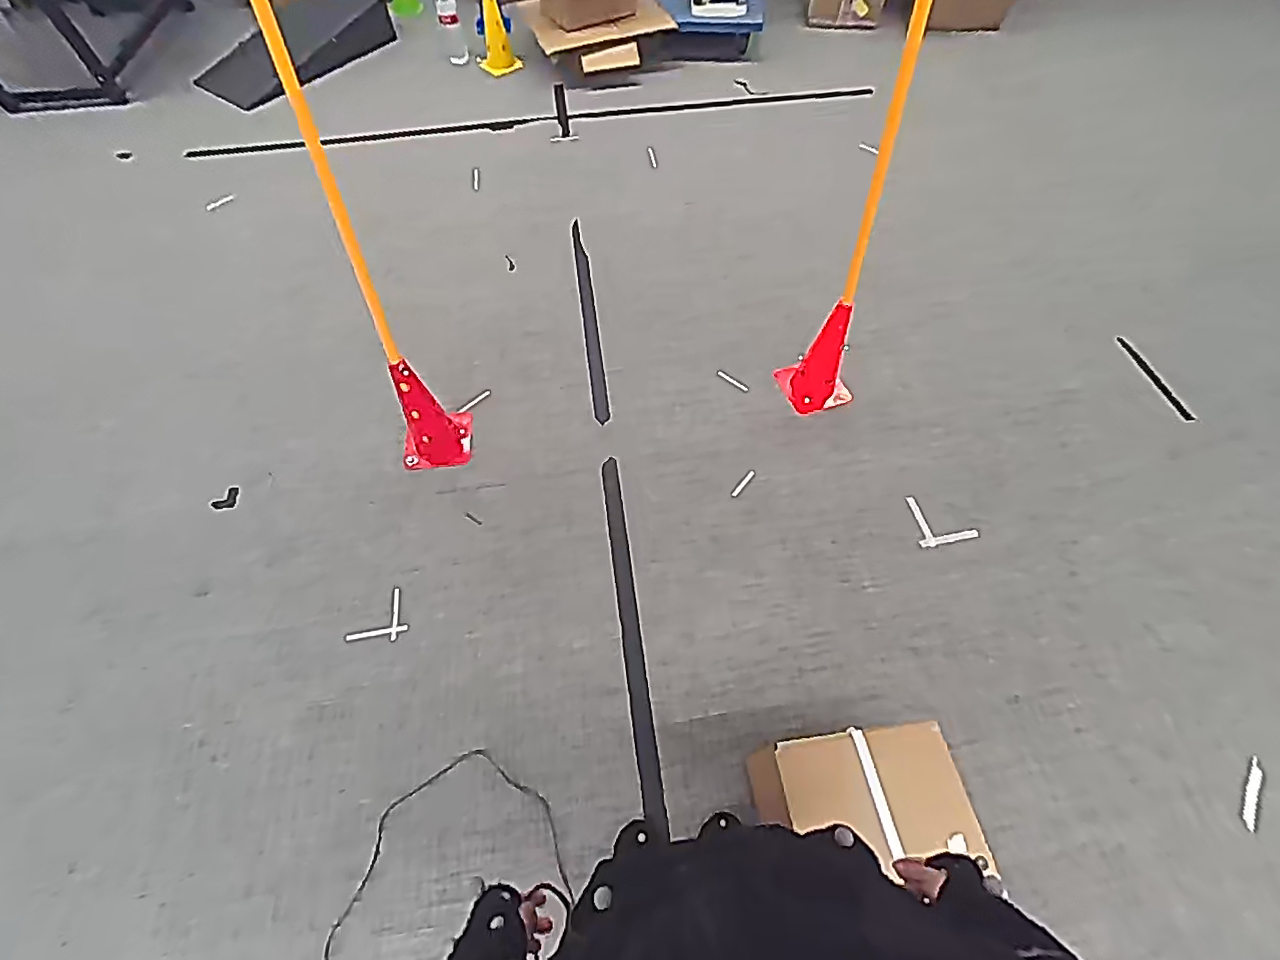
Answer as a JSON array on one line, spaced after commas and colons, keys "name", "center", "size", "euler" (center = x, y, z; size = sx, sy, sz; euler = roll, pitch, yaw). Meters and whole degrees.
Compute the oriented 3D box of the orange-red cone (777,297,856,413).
[{"name": "orange-red cone", "center": [0.569, -0.397, 1.621], "size": [0.199, 0.360, 0.198], "euler": [-15, 61, -10]}]
